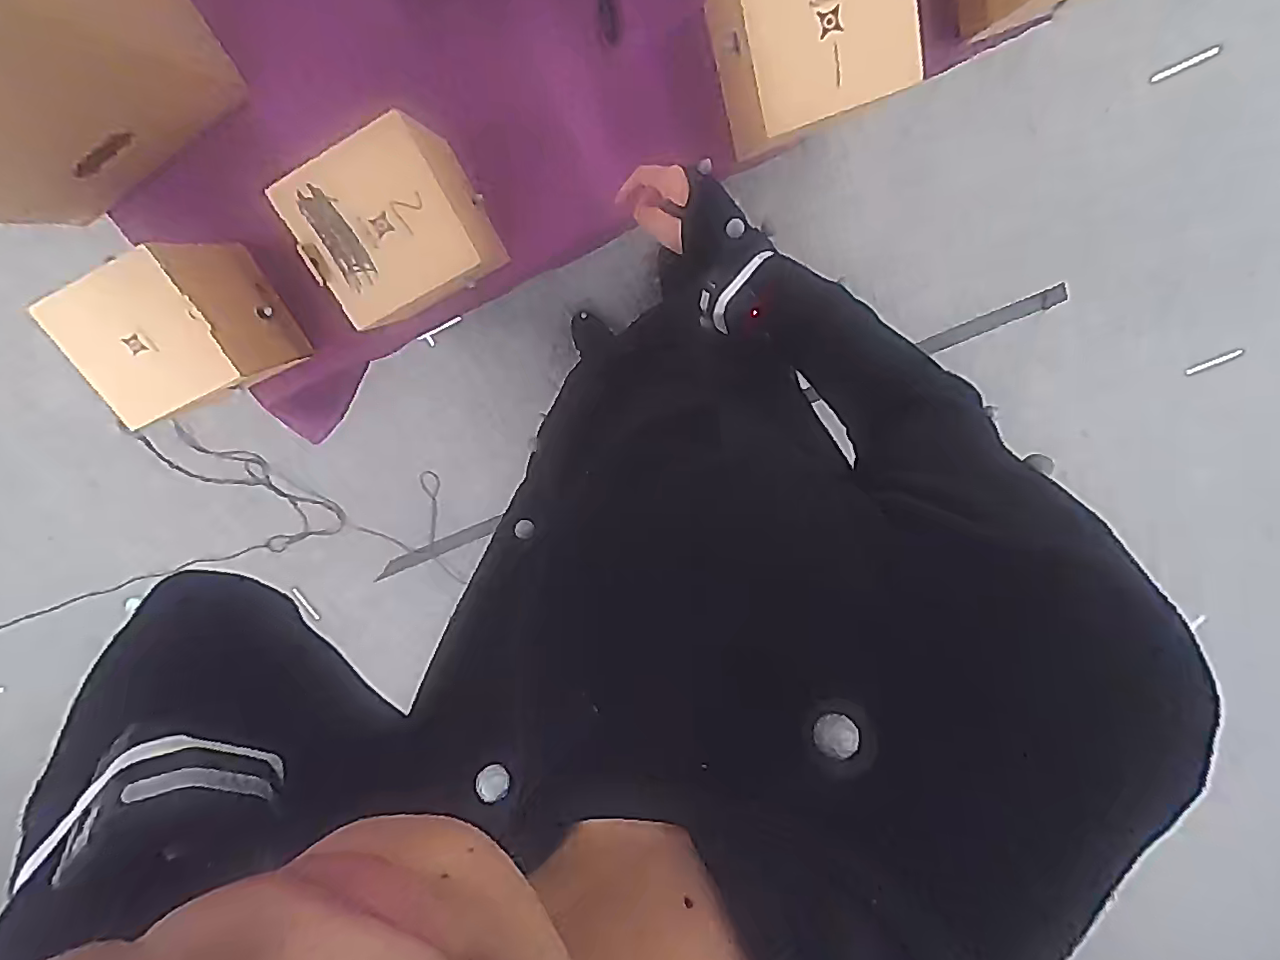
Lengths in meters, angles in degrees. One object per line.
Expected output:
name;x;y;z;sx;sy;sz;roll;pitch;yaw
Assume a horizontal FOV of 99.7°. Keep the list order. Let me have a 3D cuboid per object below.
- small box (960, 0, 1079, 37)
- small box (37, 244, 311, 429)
small box;0.445;-0.605;0.547;0.168;0.176;0.179;-17;112;7
small box;-0.590;-0.193;0.715;0.179;0.176;0.168;-23;111;8
